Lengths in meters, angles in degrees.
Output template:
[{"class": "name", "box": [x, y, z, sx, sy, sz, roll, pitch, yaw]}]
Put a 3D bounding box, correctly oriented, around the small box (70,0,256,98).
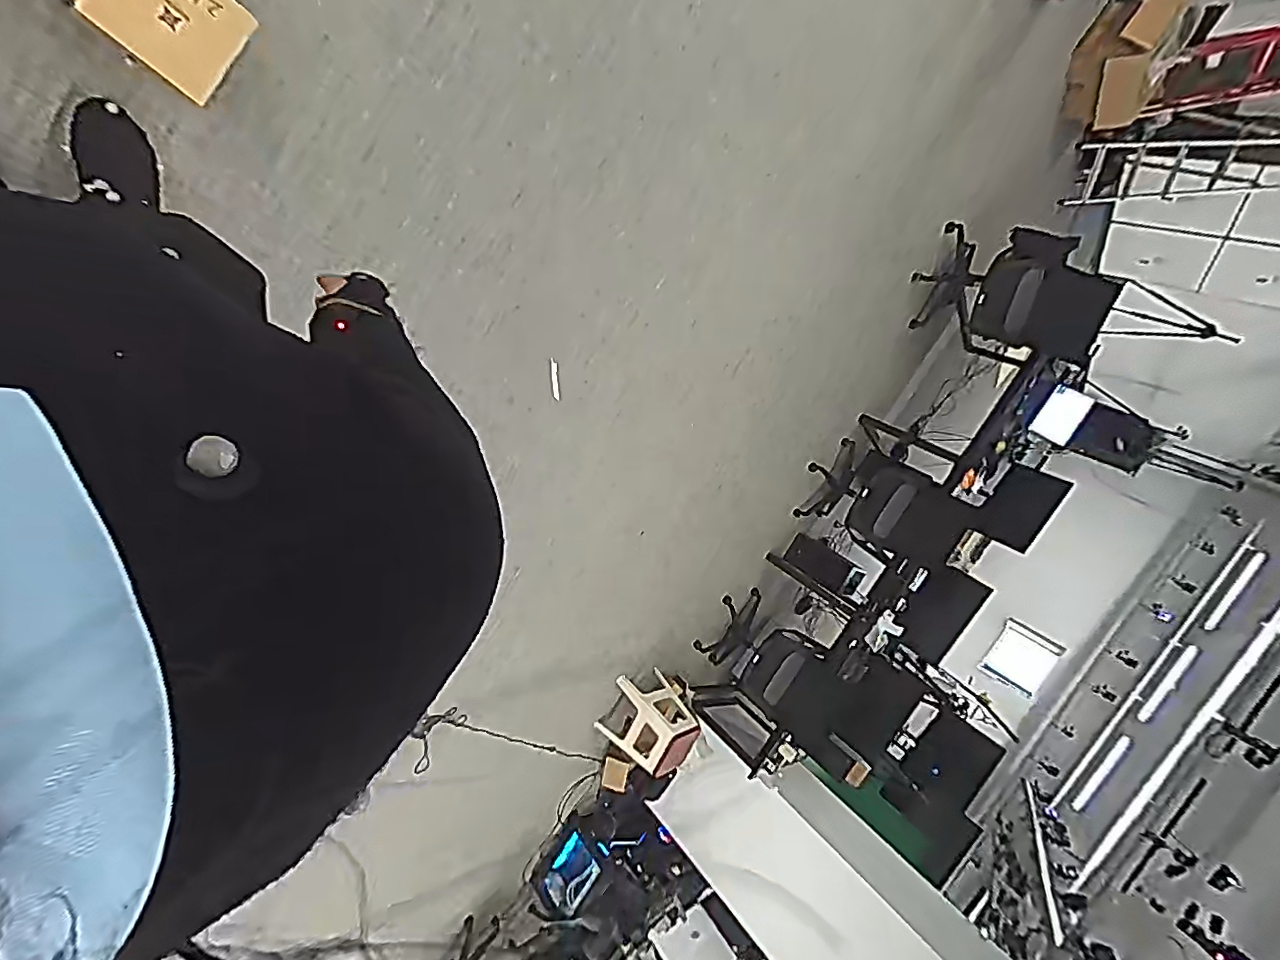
[{"class": "small box", "box": [-0.775, -0.766, 0.881, 0.179, 0.176, 0.168, -55, 144, 0]}]
